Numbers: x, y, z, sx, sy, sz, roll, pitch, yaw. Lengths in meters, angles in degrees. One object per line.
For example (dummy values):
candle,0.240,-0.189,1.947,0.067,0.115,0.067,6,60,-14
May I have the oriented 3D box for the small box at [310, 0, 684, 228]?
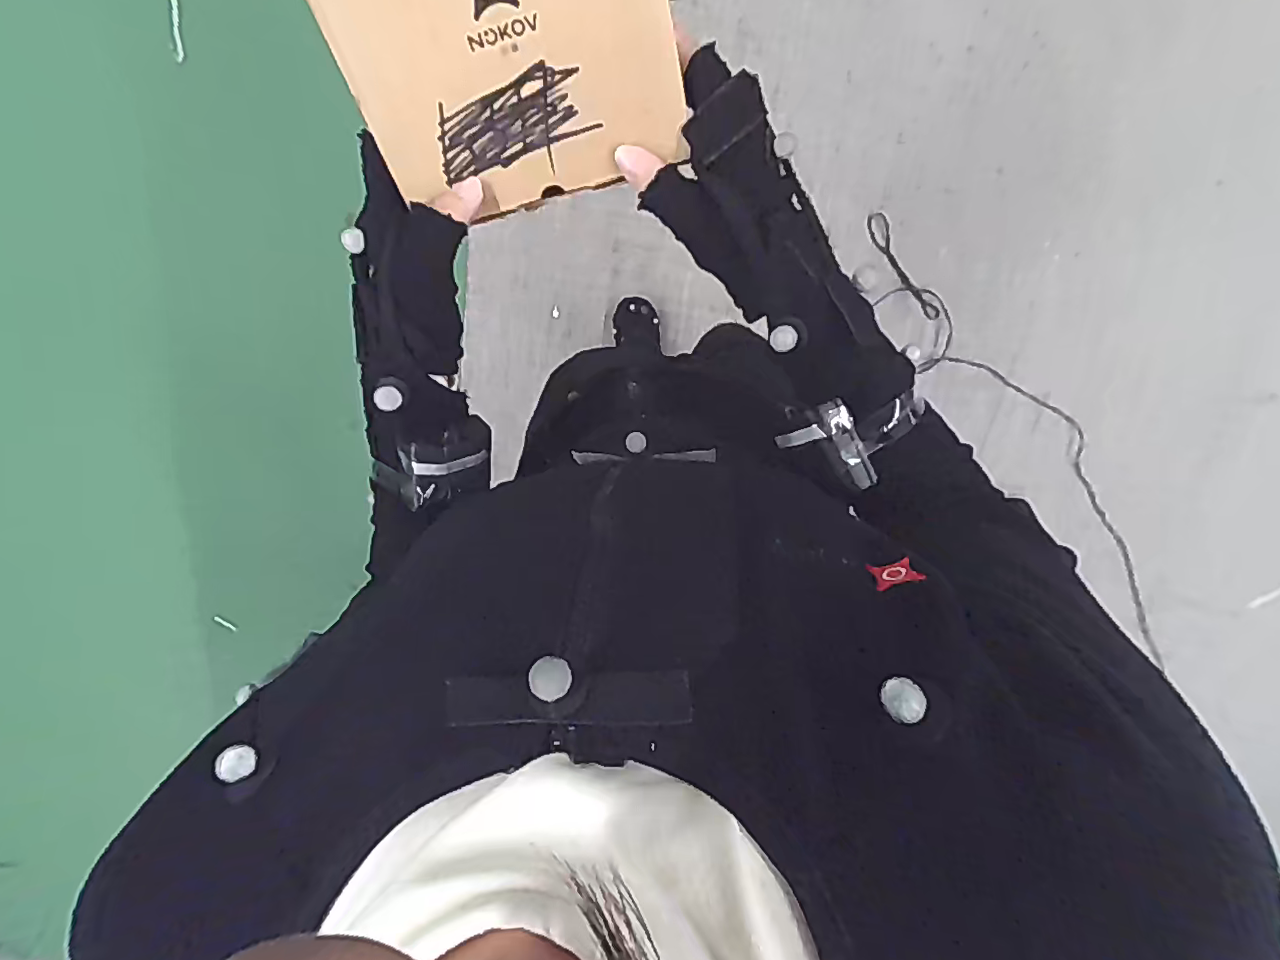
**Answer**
small box,-0.075,-0.285,0.322,0.168,0.176,0.179,-14,130,10
